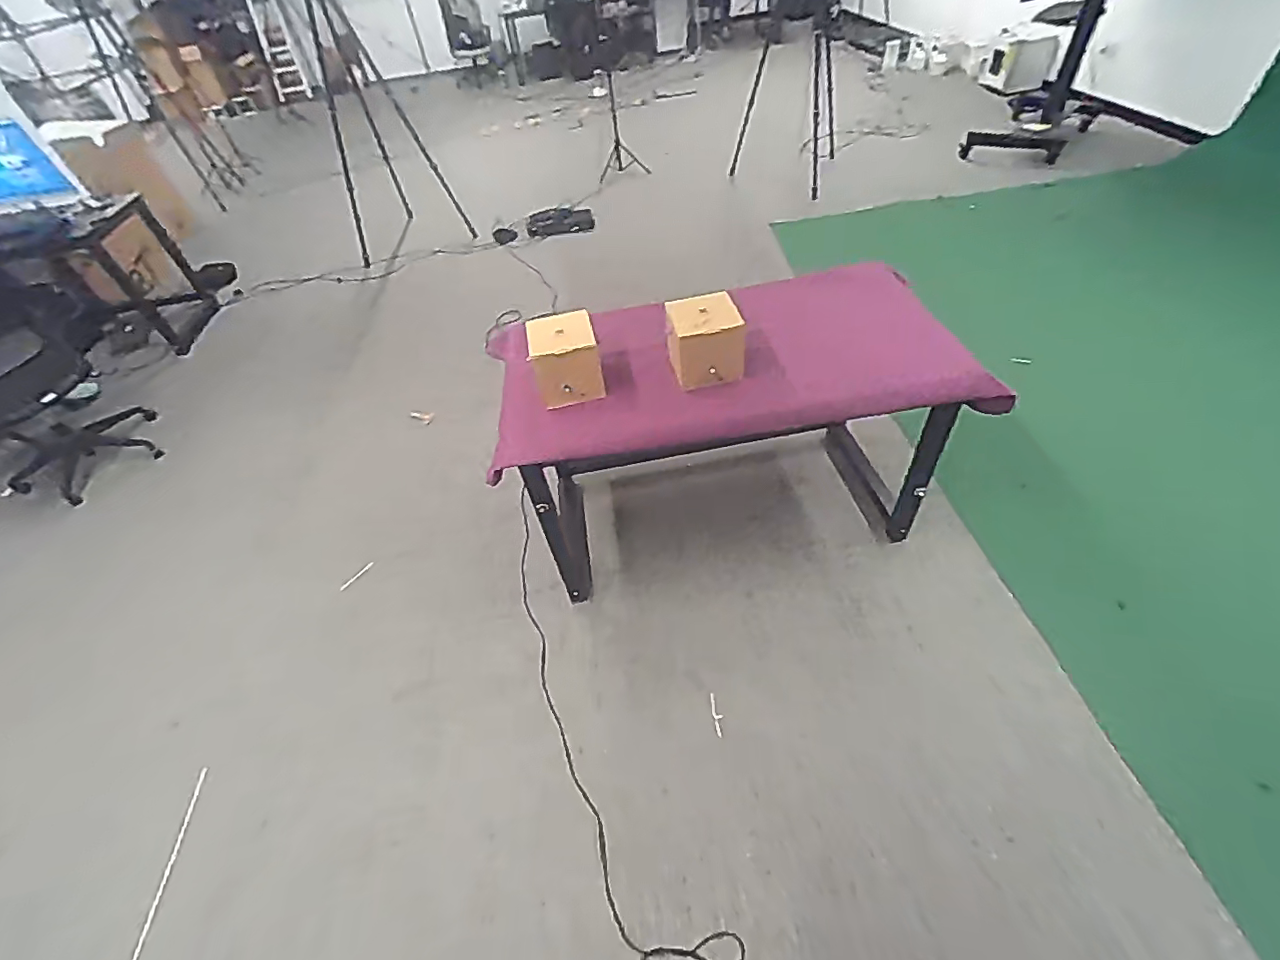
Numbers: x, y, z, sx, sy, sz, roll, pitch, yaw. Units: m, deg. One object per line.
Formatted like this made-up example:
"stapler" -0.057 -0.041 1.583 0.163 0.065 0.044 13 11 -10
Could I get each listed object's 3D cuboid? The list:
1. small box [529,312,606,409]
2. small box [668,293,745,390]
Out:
"small box" -0.191 -0.315 1.430 0.168 0.176 0.179 -13 48 -4
"small box" 0.170 -0.360 1.414 0.168 0.176 0.179 -11 47 -1
